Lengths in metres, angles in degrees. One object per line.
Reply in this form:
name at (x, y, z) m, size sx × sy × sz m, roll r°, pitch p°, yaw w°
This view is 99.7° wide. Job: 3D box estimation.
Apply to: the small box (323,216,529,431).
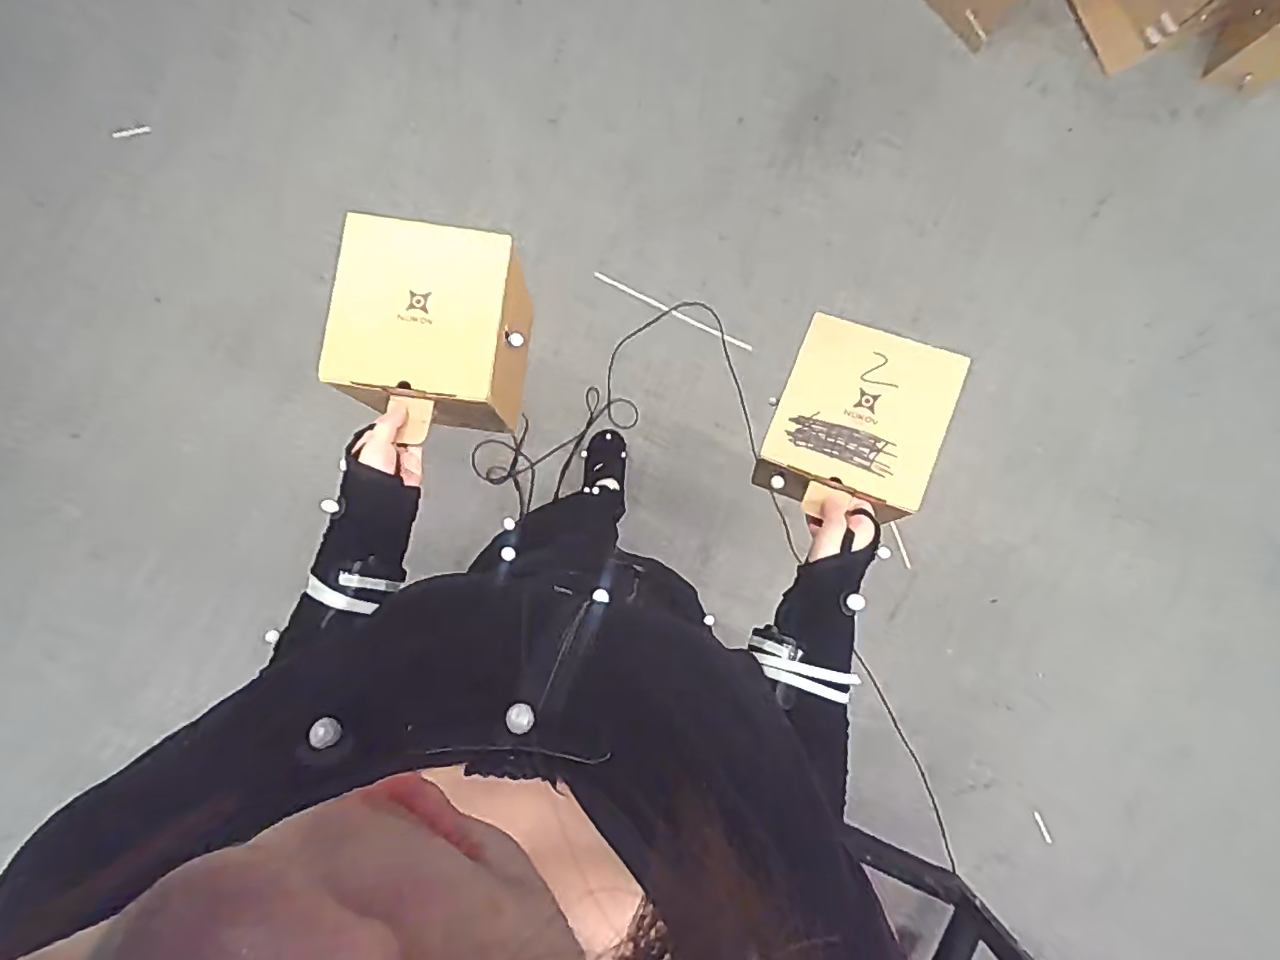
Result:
small box at (-0.228, -0.166, 0.625) m, size 0.168 × 0.176 × 0.179 m, roll 7°, pitch 84°, yaw -3°
